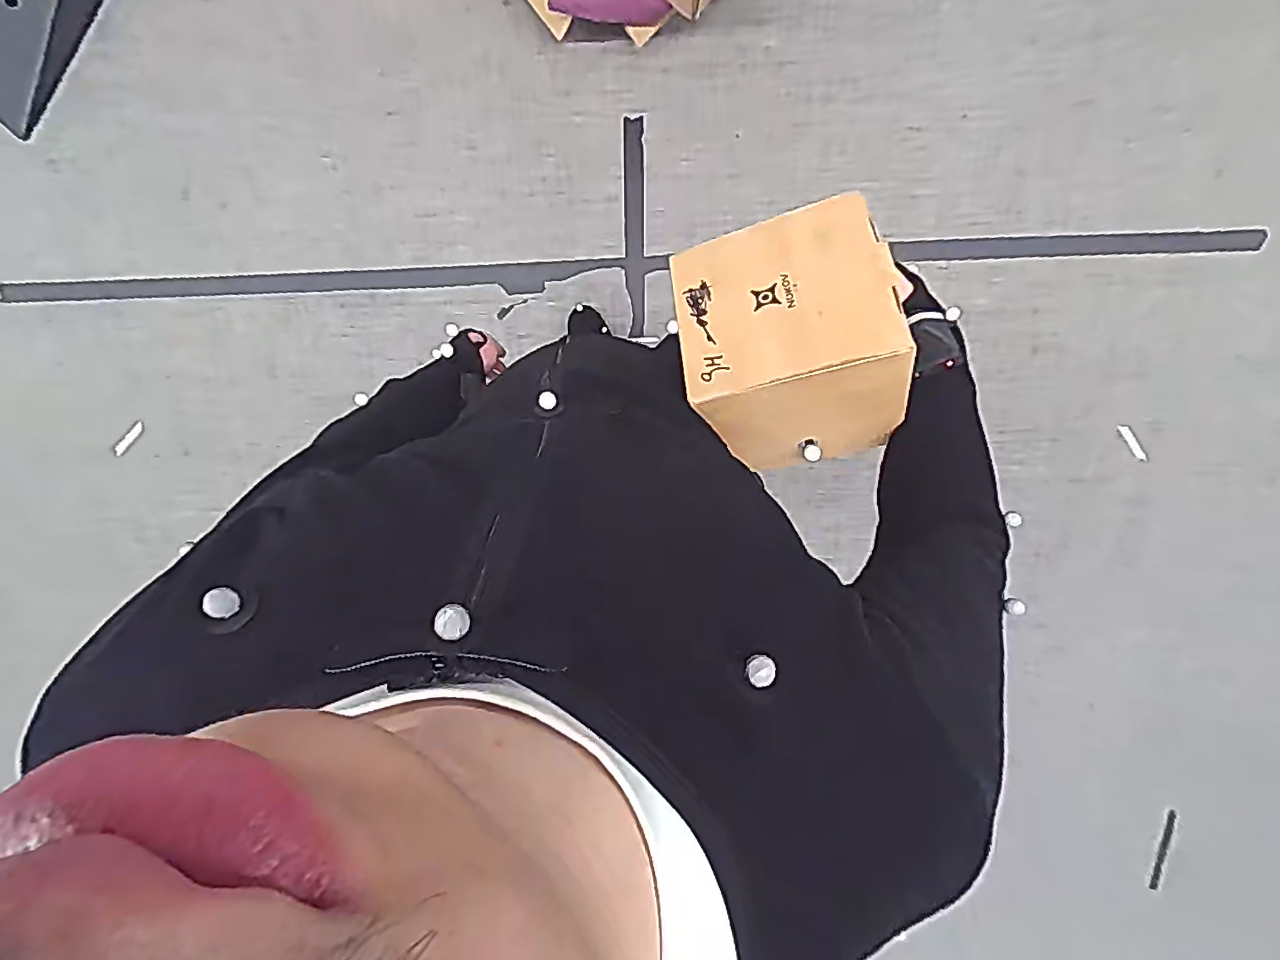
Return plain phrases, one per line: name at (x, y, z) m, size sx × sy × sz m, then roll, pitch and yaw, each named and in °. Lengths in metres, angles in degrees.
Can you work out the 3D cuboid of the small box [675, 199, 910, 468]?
small box at (0.147, -0.129, 0.537) m, size 0.179 × 0.176 × 0.168 m, roll -12°, pitch 64°, yaw 17°
